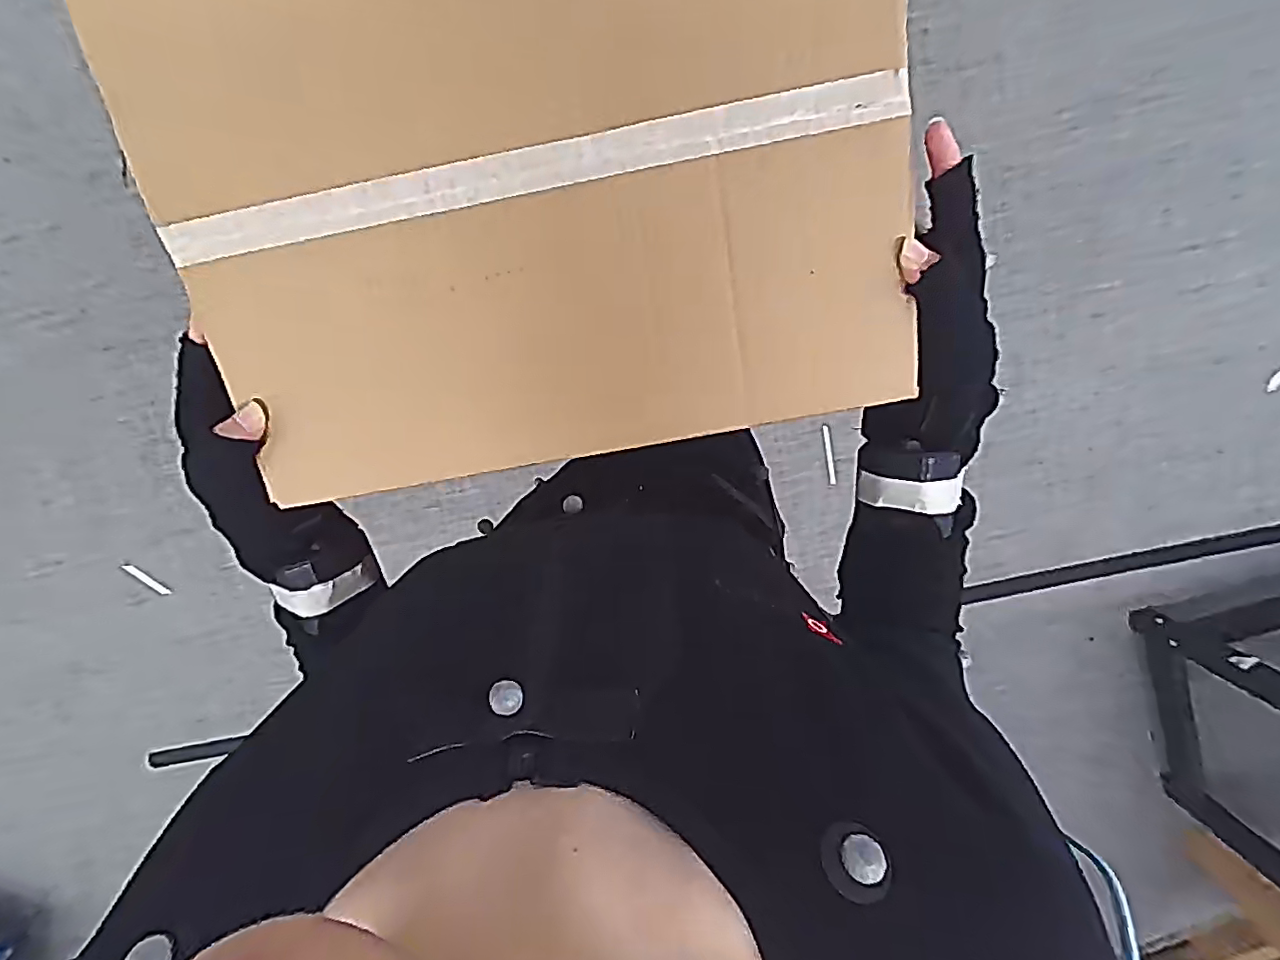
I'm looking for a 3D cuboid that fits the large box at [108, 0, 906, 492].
[{"bbox_3d":[-0.060,-0.212,0.445,0.408,0.320,0.320,-10,107,3],"label":"large box"}]
